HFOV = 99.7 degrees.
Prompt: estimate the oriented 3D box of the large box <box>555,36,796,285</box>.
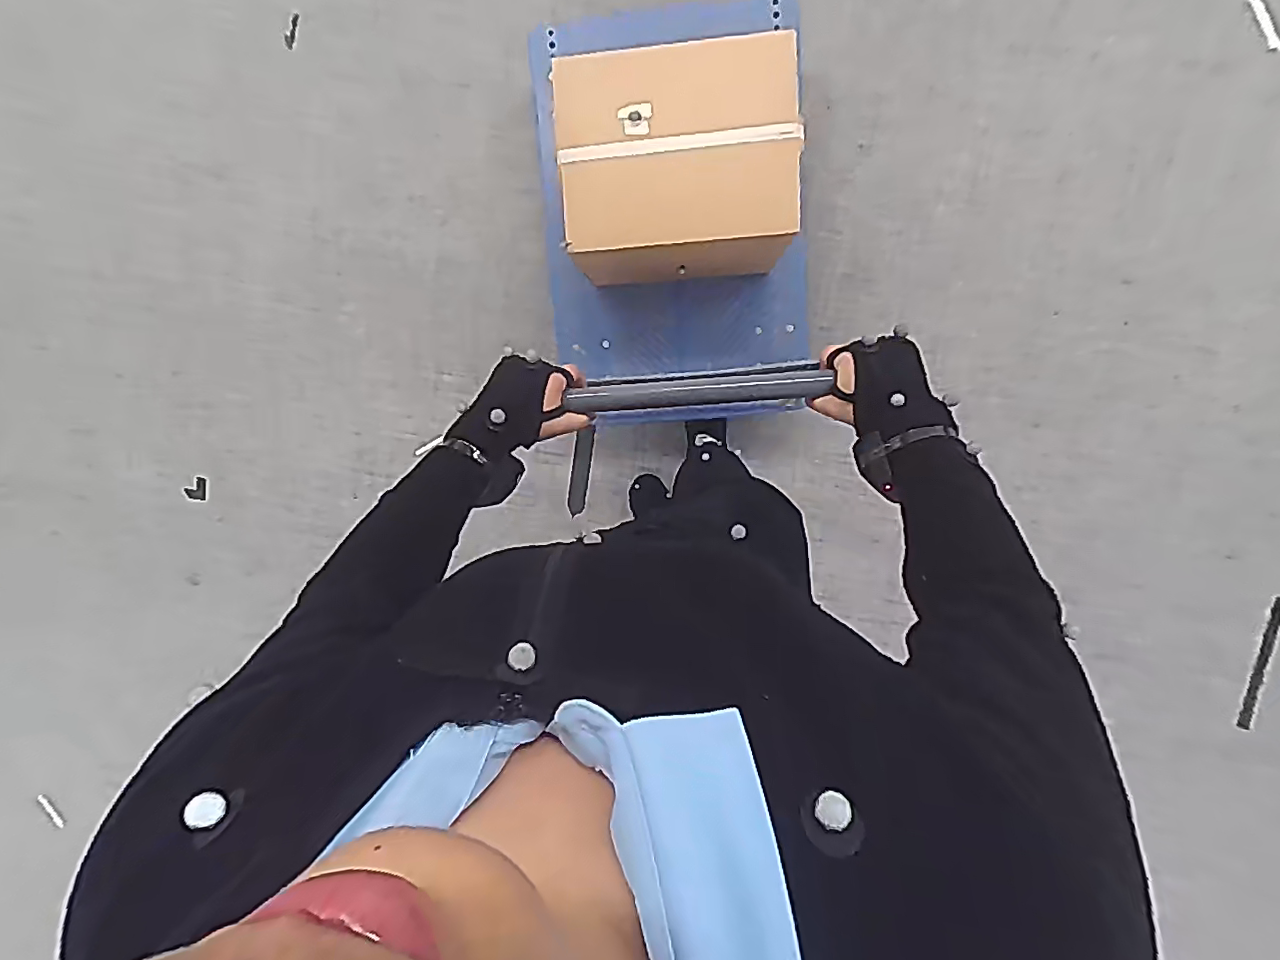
[{"bbox_3d":[0.076,-0.592,1.079,0.408,0.320,0.320,-3,98,6],"label":"large box"}]
